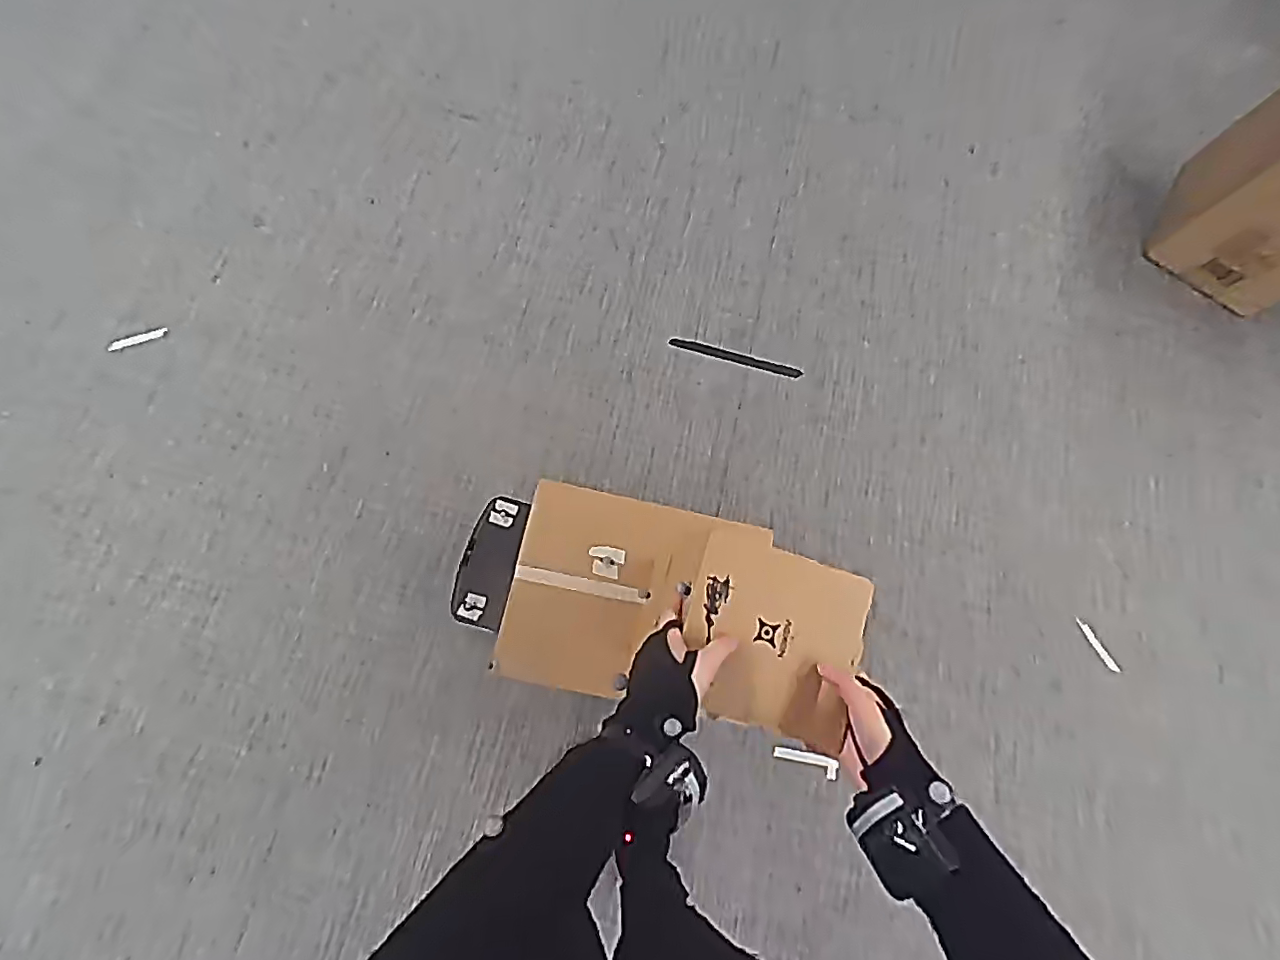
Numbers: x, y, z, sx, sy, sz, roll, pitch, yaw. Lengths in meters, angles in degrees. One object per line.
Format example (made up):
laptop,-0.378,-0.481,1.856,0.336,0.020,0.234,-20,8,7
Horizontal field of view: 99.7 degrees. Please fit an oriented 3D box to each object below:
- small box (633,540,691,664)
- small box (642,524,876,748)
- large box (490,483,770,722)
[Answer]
small box,0.098,0.194,0.758,0.179,0.176,0.168,16,74,-2
small box,0.117,0.161,0.585,0.179,0.176,0.168,20,74,-4
large box,-0.015,0.224,0.992,0.408,0.320,0.320,12,73,-2
